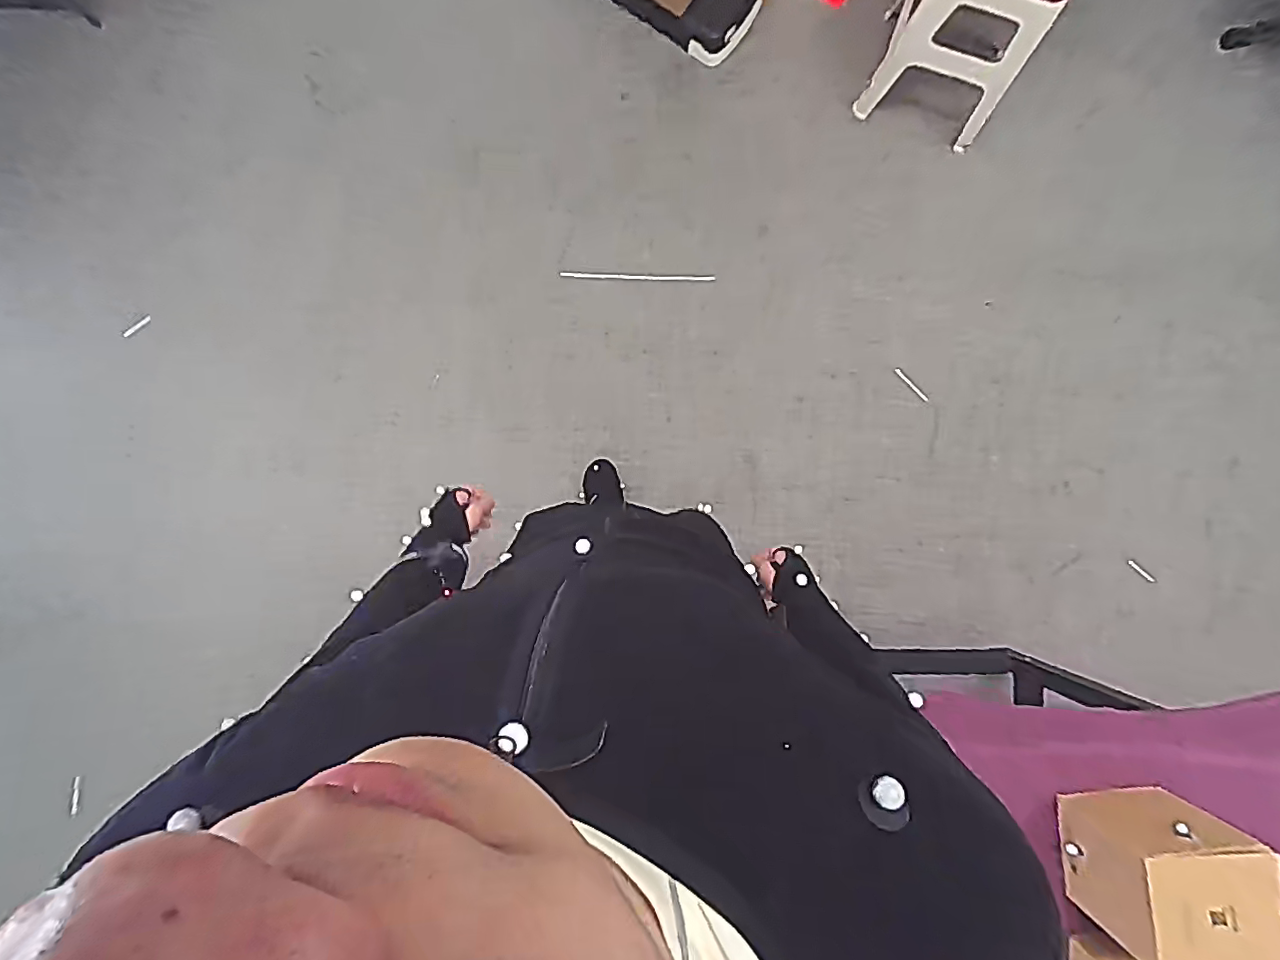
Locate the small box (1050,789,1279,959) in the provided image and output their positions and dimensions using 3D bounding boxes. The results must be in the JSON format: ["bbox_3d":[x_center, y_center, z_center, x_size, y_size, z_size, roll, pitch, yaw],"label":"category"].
[{"bbox_3d":[0.764,0.586,0.805,0.179,0.176,0.168,-4,87,1],"label":"small box"}]

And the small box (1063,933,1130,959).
[{"bbox_3d":[0.771,0.813,0.793,0.179,0.176,0.168,1,87,1],"label":"small box"}]
